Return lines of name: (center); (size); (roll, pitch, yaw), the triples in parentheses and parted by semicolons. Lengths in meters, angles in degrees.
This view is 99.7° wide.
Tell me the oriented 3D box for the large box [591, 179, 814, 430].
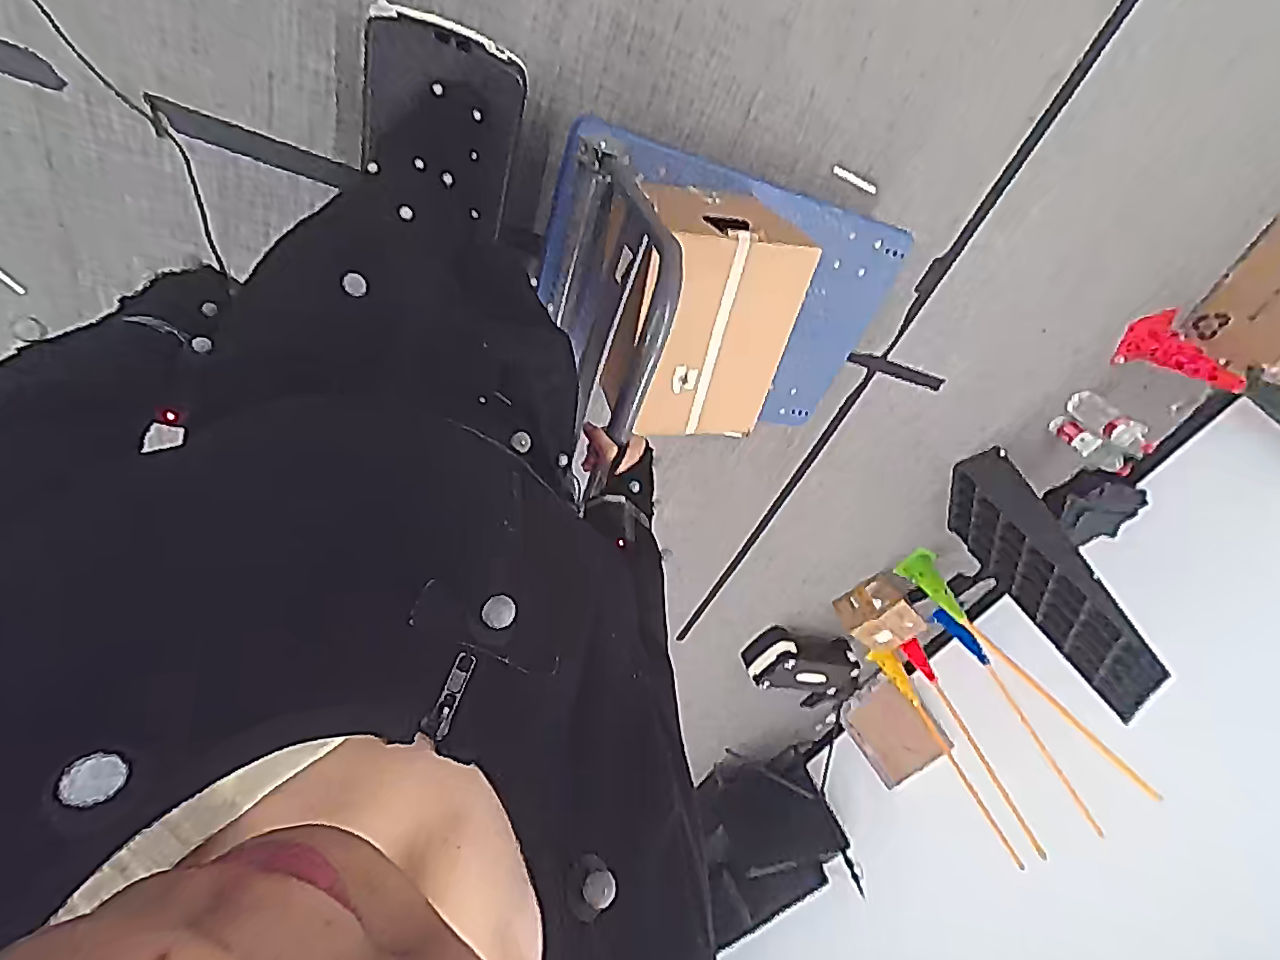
large box: (0.093, -0.359, 1.131); (0.320, 0.320, 0.408); (-2, 133, -18)
